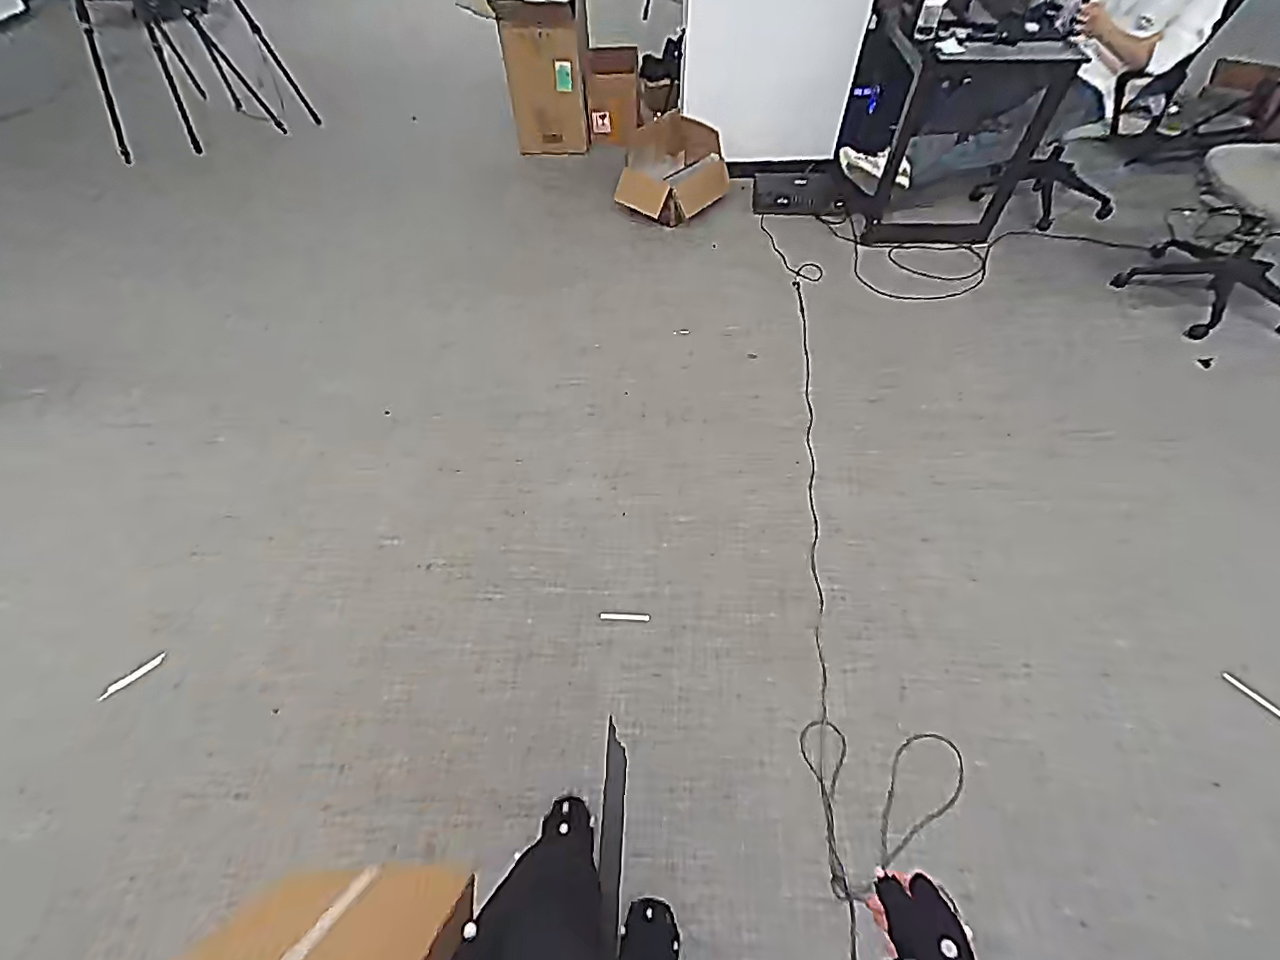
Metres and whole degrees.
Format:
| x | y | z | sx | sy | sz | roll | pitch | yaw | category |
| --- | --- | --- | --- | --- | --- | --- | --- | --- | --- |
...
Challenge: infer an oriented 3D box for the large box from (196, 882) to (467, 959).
| x | y | z | sx | sy | sz | roll | pitch | yaw | category |
| --- | --- | --- | --- | --- | --- | --- | --- | --- | --- |
| -0.425 | 0.764 | 0.650 | 0.320 | 0.408 | 0.320 | -2 | 79 | 0 | large box |
